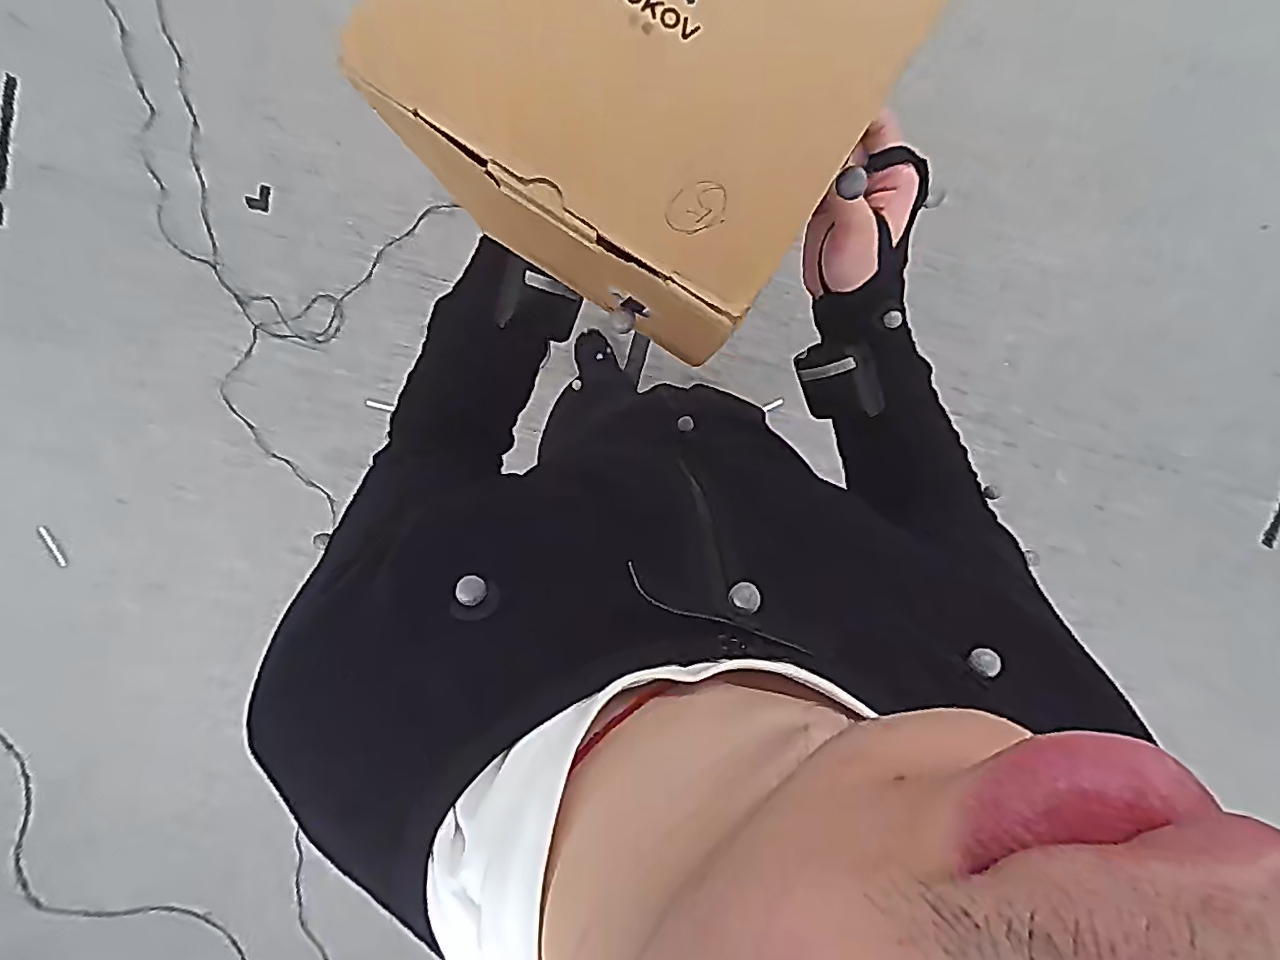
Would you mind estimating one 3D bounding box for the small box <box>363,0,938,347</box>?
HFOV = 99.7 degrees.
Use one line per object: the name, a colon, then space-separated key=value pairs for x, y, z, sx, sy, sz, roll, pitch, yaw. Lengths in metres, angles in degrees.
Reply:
small box: x=0.014 y=-0.185 z=0.267 sx=0.168 sy=0.176 sz=0.179 roll=32 pitch=95 yaw=-4
